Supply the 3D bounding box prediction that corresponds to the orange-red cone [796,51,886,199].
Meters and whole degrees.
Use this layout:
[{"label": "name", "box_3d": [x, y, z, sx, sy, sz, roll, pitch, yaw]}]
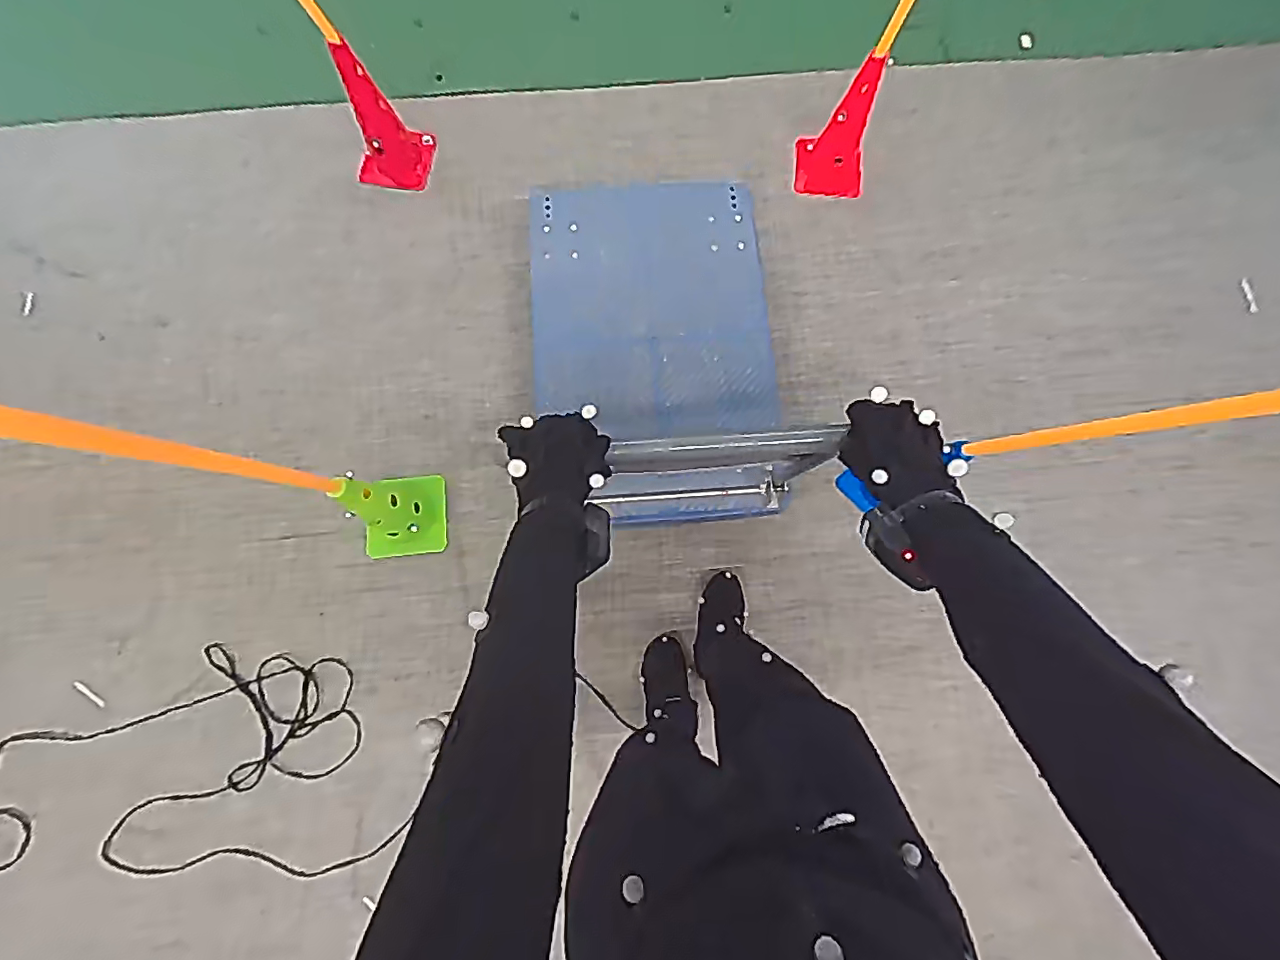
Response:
[{"label": "orange-red cone", "box_3d": [0.576, -0.978, 1.471, 0.198, 0.360, 0.199, 6, 78, 1]}]
